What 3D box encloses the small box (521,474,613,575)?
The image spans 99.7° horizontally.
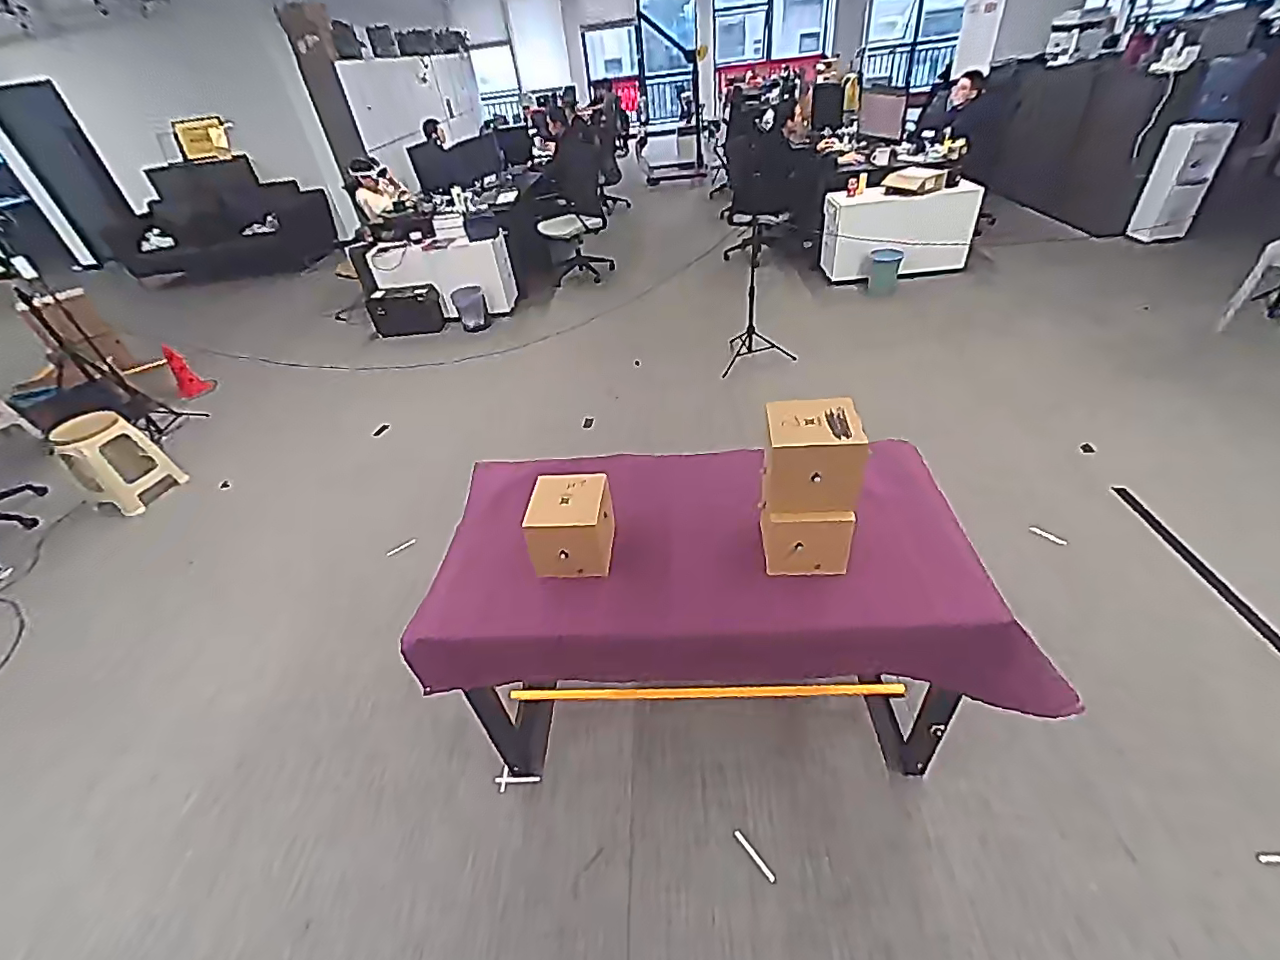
[{"bbox_3d":[-0.160,0.107,1.259,0.168,0.176,0.179,-1,39,7],"label":"small box"}]

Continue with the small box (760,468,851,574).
[{"bbox_3d":[0.356,0.094,1.195,0.168,0.176,0.179,-2,38,7],"label":"small box"}]
